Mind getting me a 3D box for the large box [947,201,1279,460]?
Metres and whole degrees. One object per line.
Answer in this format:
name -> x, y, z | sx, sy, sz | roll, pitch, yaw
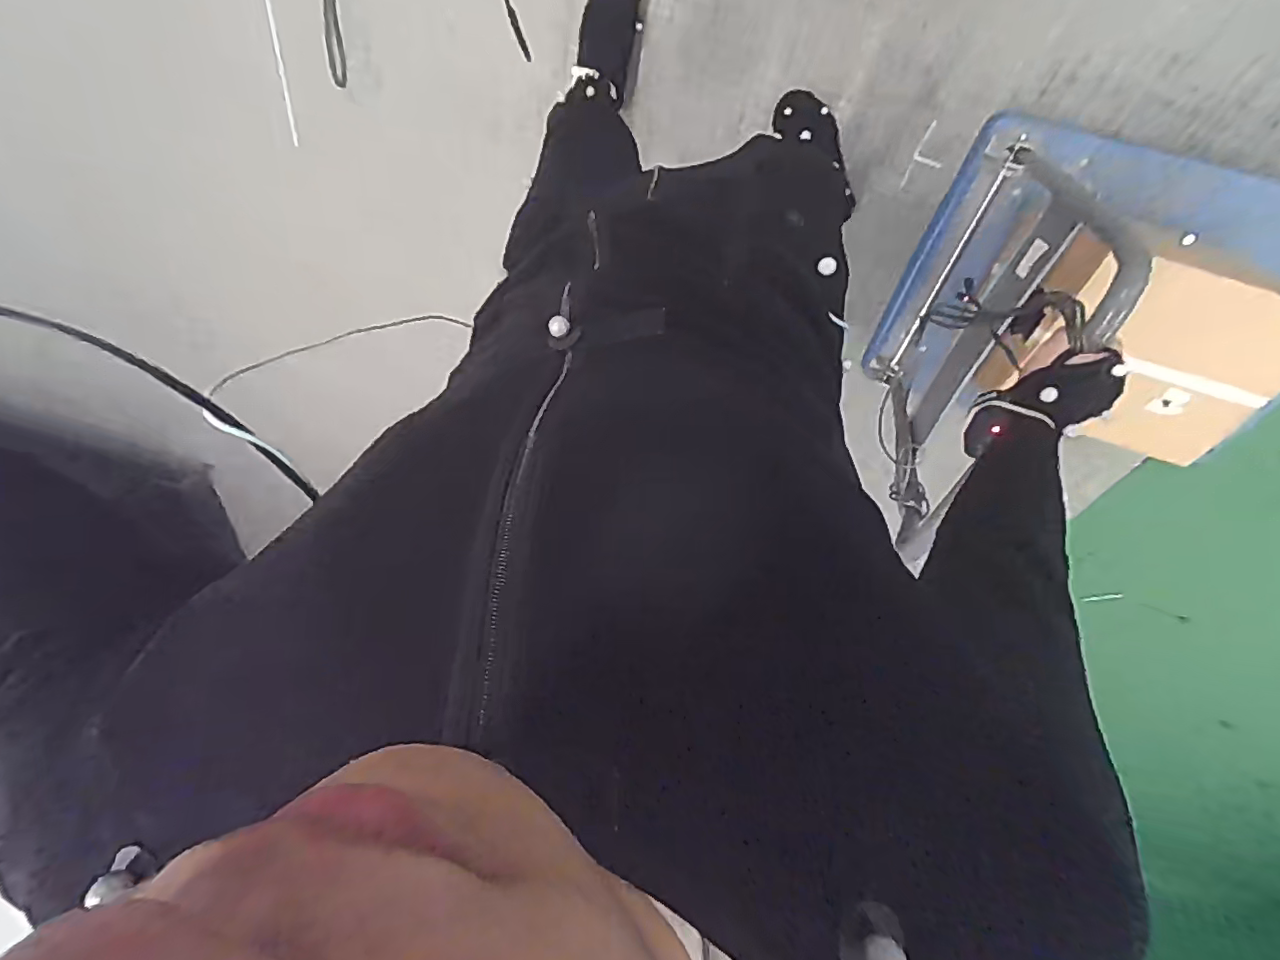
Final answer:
large box -> 0.899, -0.294, 1.046 | 0.408, 0.320, 0.320 | 17, 133, 0
